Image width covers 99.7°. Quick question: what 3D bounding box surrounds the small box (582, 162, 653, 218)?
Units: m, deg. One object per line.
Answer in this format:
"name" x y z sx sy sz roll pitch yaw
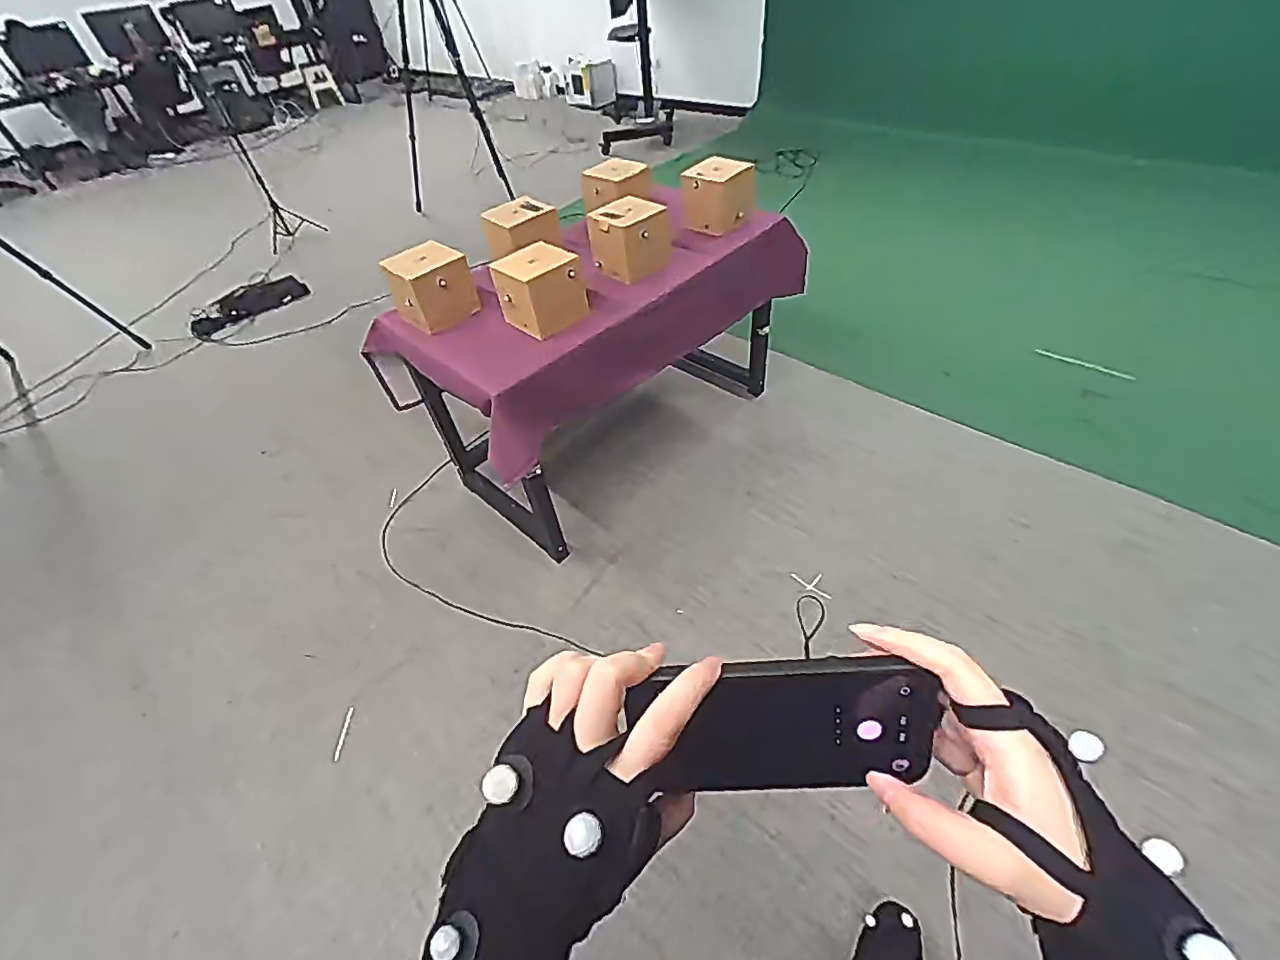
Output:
"small box" -0.074 -0.966 1.858 0.179 0.176 0.168 30 58 30

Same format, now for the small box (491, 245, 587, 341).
"small box" -0.260 -0.497 1.443 0.179 0.176 0.168 -38 53 -27

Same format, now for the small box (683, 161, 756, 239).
"small box" 0.257 -0.917 1.769 0.168 0.176 0.179 31 58 32

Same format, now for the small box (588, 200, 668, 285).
"small box" -0.028 -0.704 1.607 0.179 0.176 0.168 -36 53 -25
